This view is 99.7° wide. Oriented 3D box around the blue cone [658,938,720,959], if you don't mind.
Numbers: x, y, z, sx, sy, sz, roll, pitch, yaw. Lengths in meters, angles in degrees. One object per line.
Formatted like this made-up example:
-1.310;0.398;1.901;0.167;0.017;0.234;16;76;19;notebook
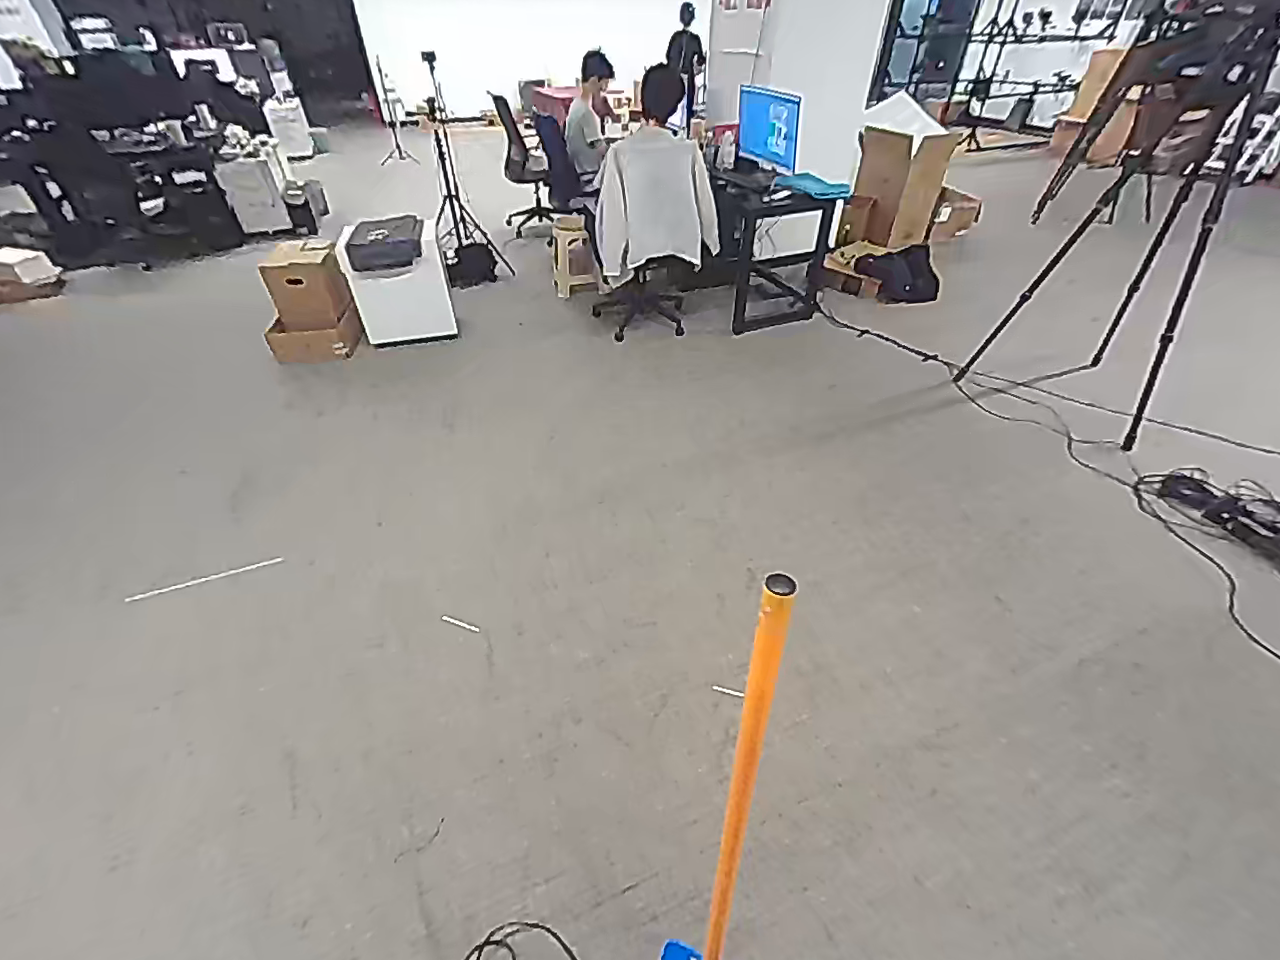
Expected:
0.109;0.923;0.970;0.192;0.380;0.193;14;41;17;blue cone
